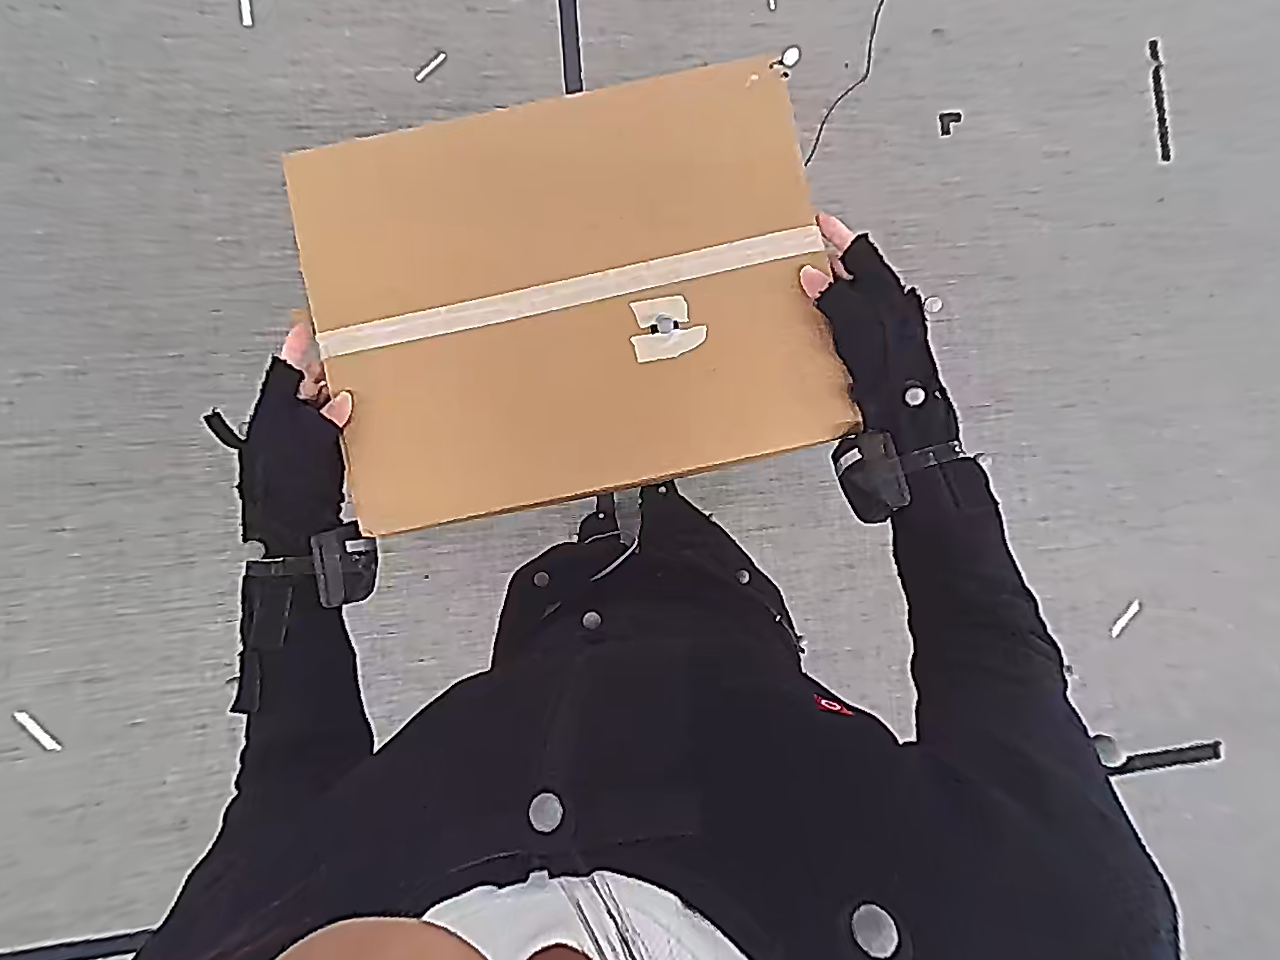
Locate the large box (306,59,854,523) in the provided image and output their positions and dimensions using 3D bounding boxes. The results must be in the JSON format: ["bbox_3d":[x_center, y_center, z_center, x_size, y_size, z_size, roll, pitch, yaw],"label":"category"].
[{"bbox_3d":[-0.052,-0.153,0.590,0.408,0.320,0.320,-13,90,-1],"label":"large box"}]
